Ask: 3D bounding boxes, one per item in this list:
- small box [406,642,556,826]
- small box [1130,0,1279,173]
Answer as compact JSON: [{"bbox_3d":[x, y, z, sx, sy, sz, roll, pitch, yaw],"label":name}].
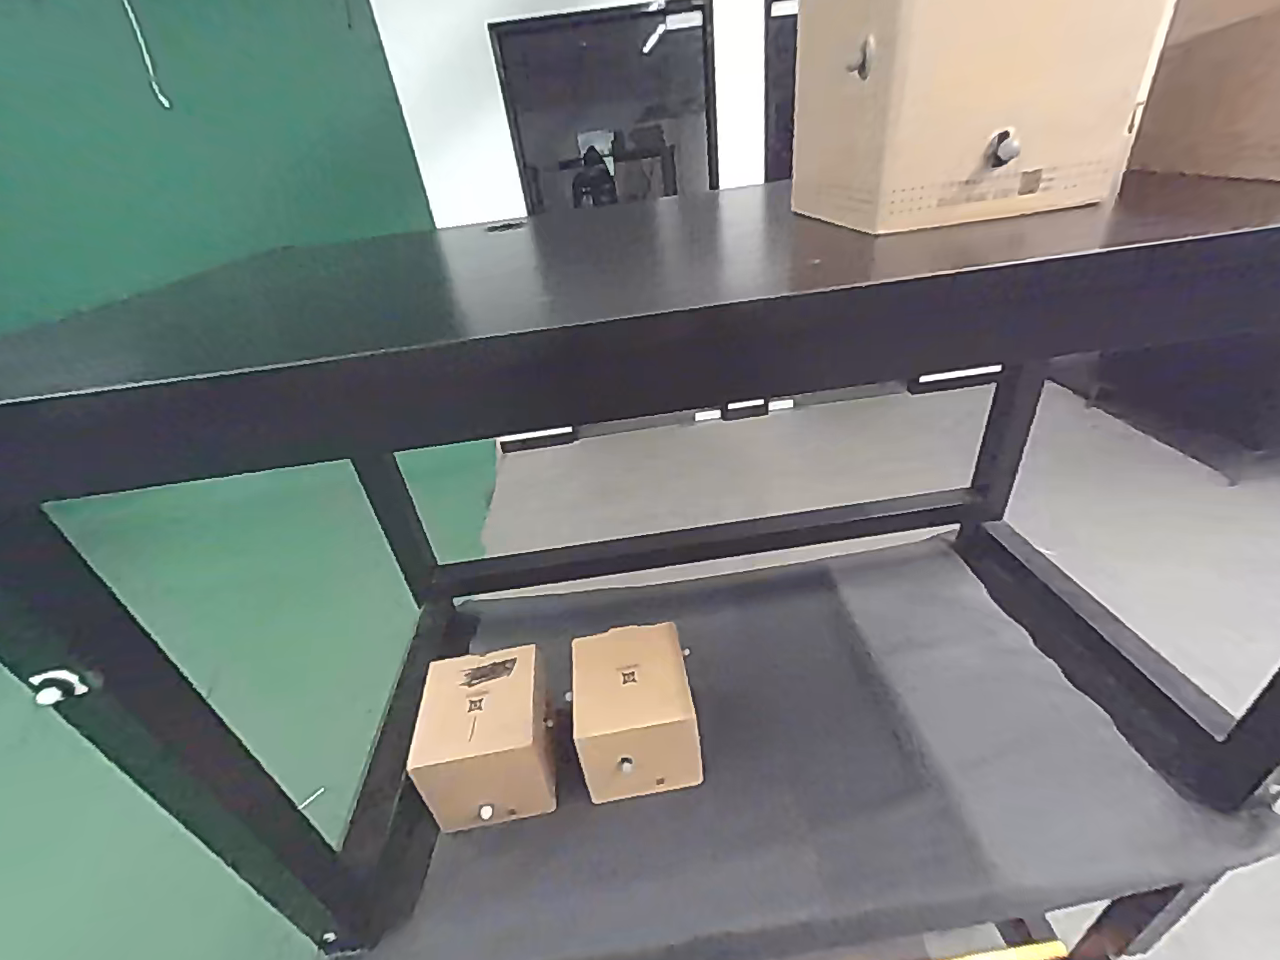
[{"bbox_3d":[-0.224,0.378,0.814,0.168,0.176,0.179,-9,32,-2],"label":"small box"},{"bbox_3d":[0.493,-0.310,0.360,0.168,0.176,0.179,-3,32,8],"label":"small box"}]
